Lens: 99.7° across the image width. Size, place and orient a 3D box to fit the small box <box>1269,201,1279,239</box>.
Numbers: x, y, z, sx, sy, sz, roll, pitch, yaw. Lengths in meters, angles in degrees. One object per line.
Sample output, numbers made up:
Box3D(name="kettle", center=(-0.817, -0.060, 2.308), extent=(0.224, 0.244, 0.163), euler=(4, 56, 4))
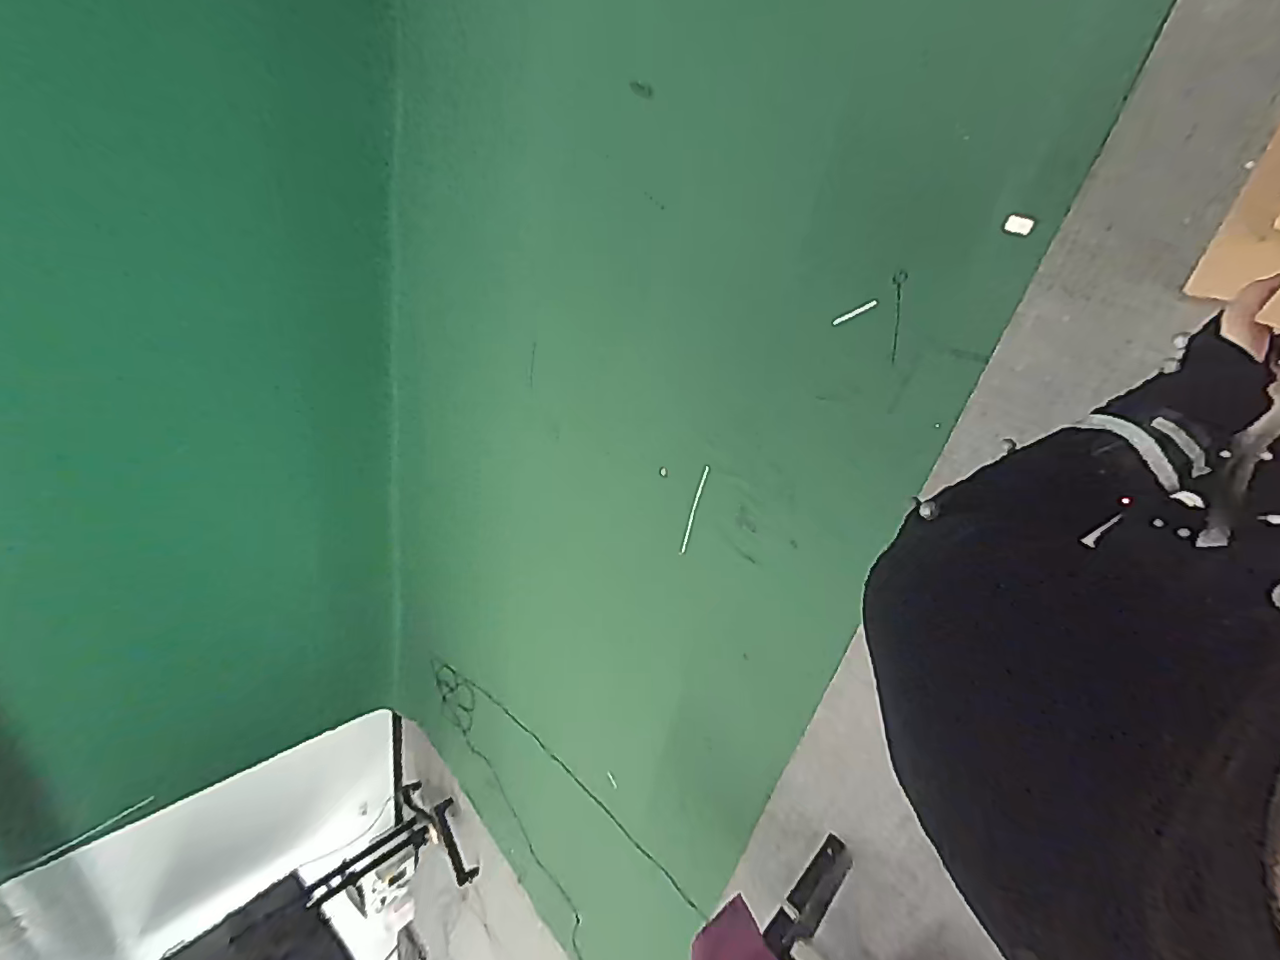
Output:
Box3D(name="small box", center=(0.857, -0.340, 0.590), extent=(0.168, 0.176, 0.179), euler=(42, 129, 30))

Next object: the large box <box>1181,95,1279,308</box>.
Box3D(name="large box", center=(1.041, -0.432, 0.732), extent=(0.320, 0.320, 0.408), euler=(31, 121, 35))
